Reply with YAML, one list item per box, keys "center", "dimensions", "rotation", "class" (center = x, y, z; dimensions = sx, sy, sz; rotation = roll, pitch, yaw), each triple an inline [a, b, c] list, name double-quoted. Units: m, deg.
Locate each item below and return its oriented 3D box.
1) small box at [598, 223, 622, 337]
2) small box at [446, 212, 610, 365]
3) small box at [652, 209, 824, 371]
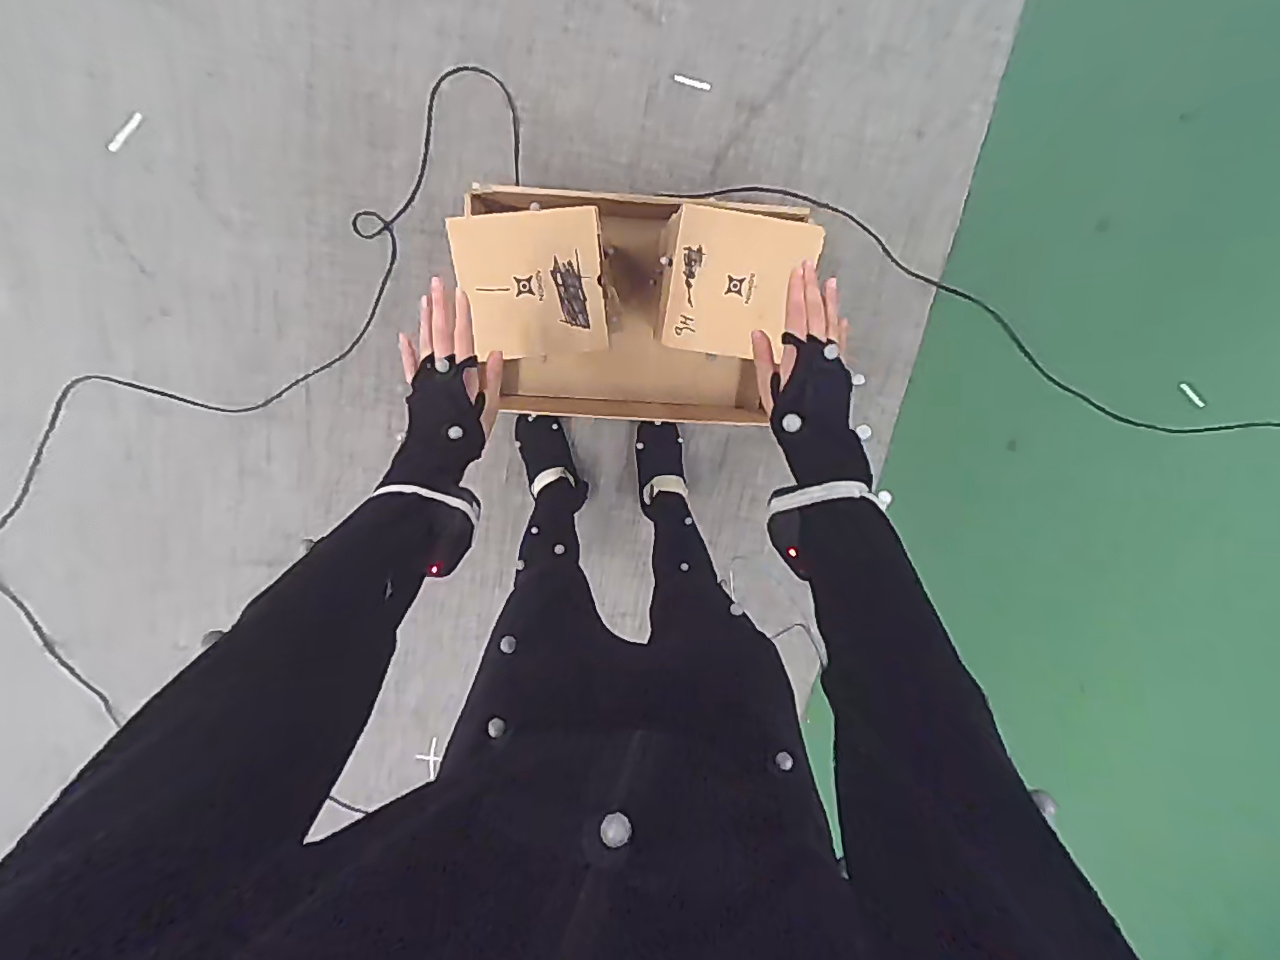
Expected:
- center: [-0.133, -0.308, 0.878]
  dimensions: [0.179, 0.176, 0.168]
  rotation: [-12, 109, 1]
  class: "small box"
- center: [-0.136, -0.253, 0.723]
  dimensions: [0.179, 0.176, 0.168]
  rotation: [-6, 109, -1]
  class: "small box"
- center: [0.117, -0.251, 0.730]
  dimensions: [0.179, 0.176, 0.168]
  rotation: [8, 107, -4]
  class: "small box"
